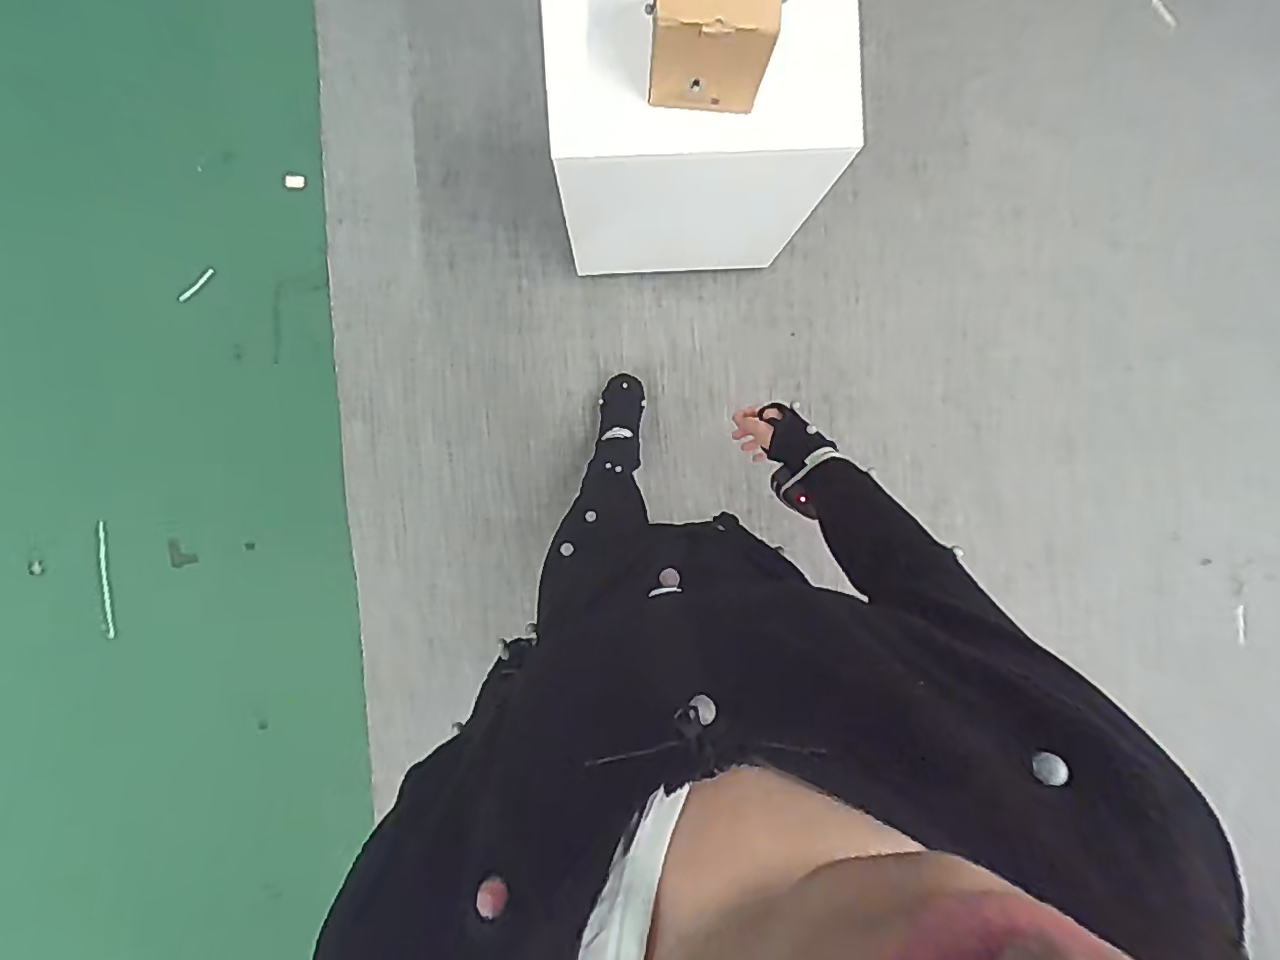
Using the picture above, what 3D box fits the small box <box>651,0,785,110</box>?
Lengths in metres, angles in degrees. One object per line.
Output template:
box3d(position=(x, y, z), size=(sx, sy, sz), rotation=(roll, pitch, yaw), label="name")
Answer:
box3d(position=(0.104, -0.676, 0.771), size=(0.168, 0.176, 0.179), rotation=(2, 92, -2), label="small box")
